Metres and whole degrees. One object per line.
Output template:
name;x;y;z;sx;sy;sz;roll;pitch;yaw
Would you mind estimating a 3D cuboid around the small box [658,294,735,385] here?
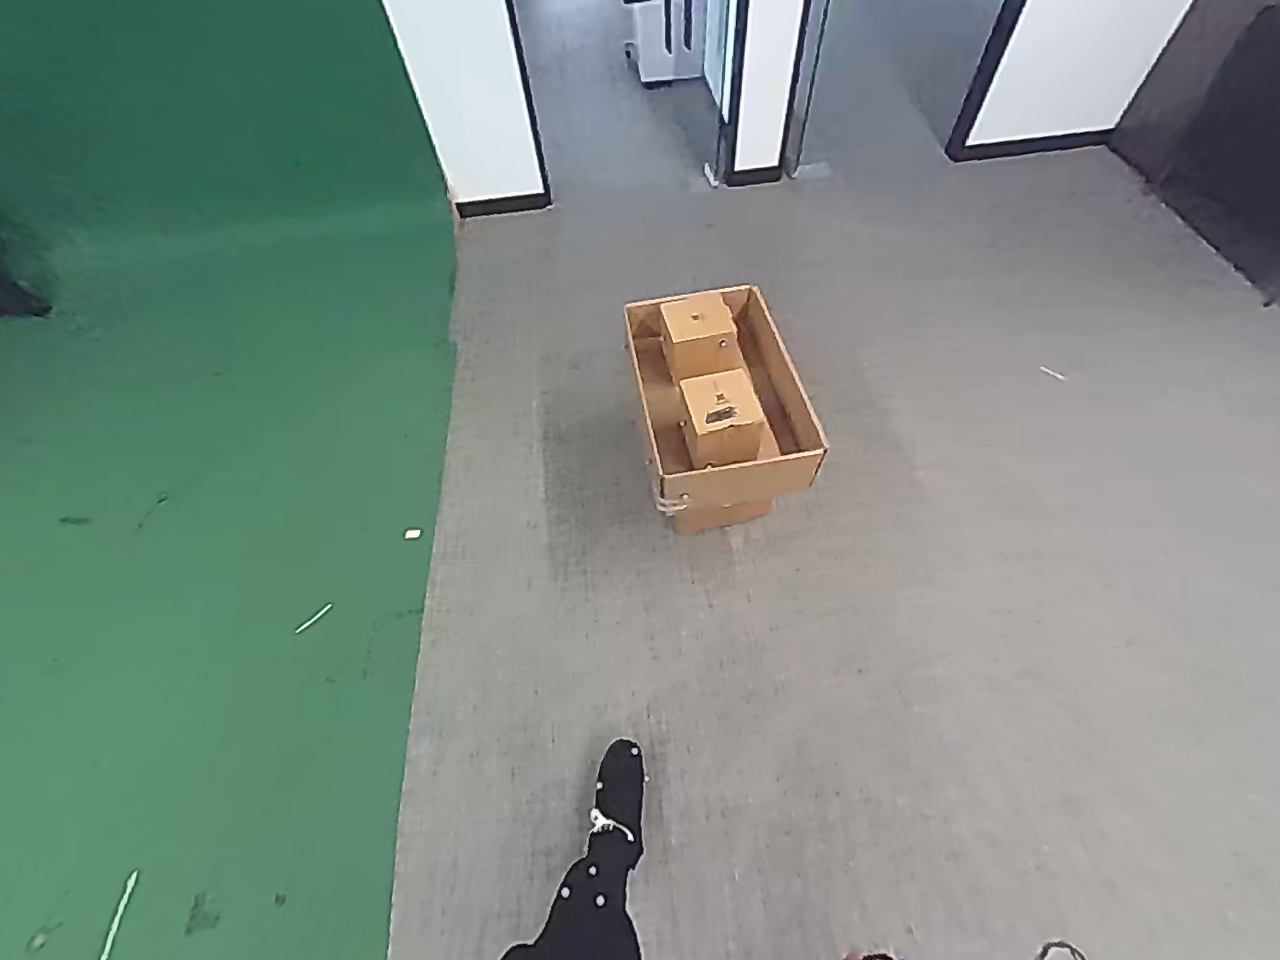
small box;0.155;-0.390;1.521;0.179;0.176;0.168;-12;56;-5
